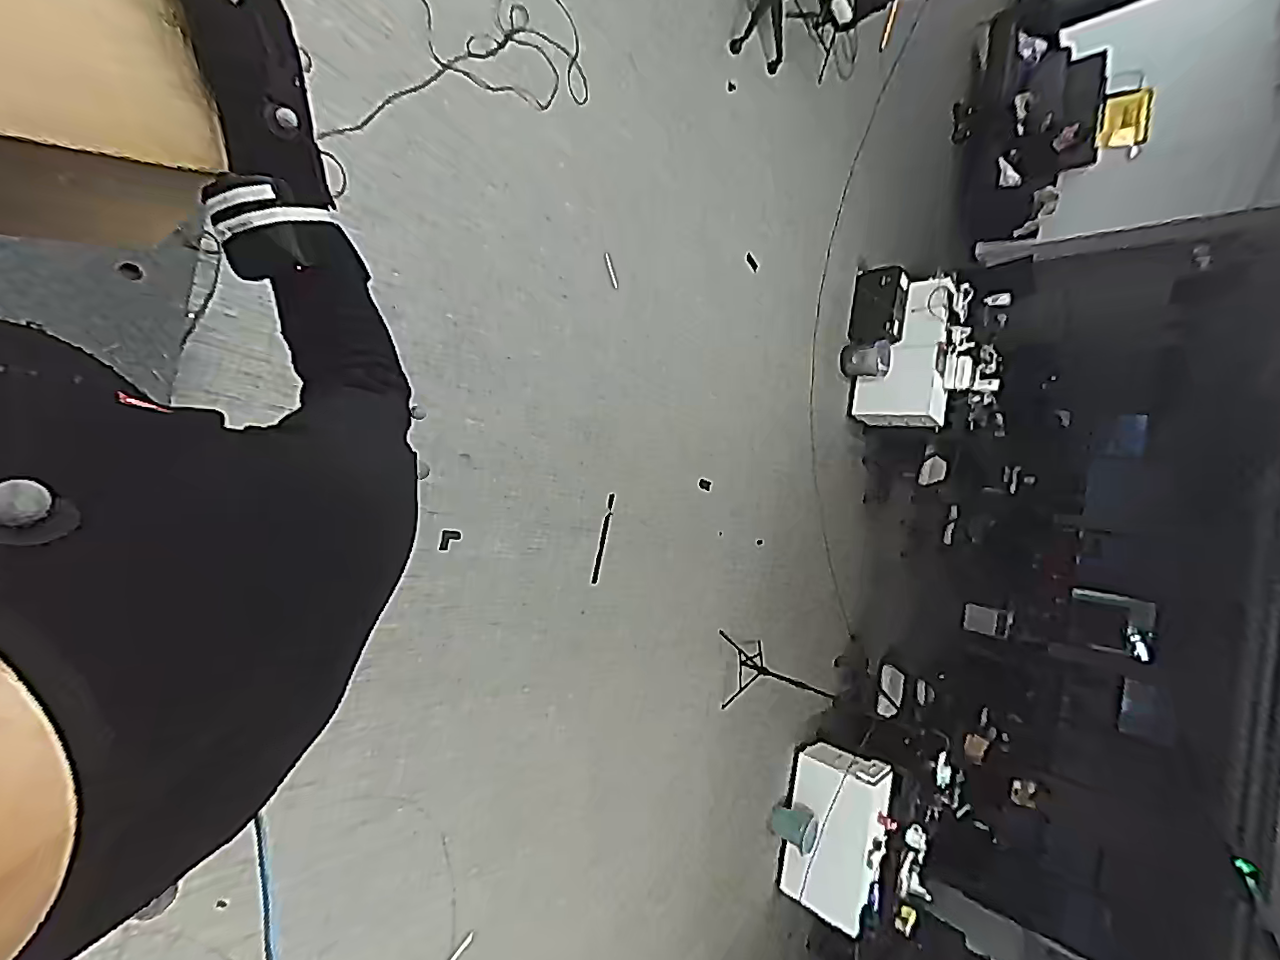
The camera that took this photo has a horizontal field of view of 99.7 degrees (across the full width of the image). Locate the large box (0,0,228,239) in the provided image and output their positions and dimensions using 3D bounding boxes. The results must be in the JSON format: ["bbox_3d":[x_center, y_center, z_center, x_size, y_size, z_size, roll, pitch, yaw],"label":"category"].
[{"bbox_3d":[-0.557,-0.359,0.322,0.408,0.320,0.320,-16,108,-48],"label":"large box"}]
